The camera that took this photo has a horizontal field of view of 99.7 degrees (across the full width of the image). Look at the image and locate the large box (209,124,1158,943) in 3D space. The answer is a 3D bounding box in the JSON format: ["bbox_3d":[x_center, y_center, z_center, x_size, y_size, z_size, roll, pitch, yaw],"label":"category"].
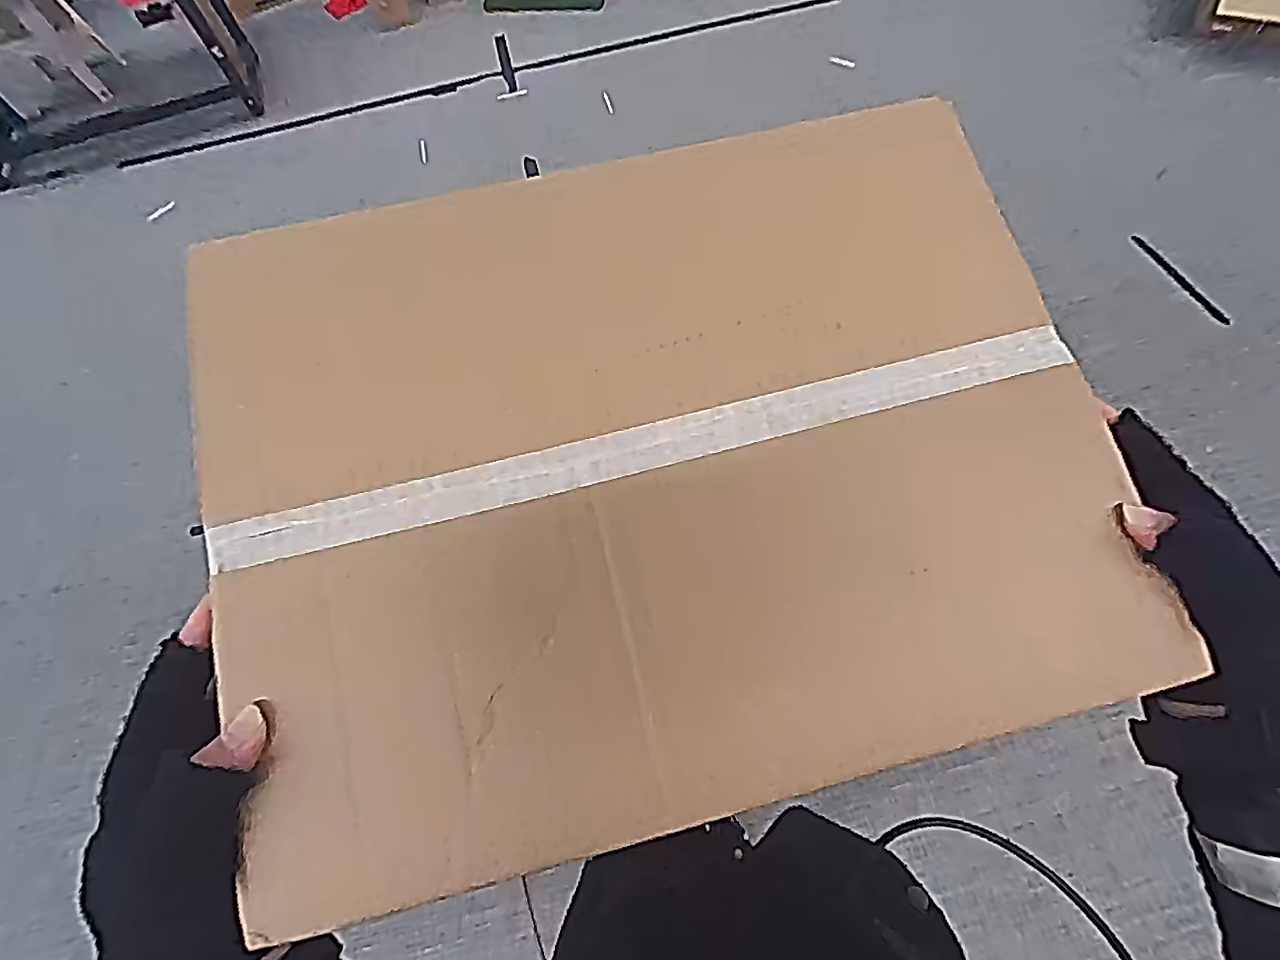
[{"bbox_3d":[0.007,0.024,0.405,0.408,0.320,0.320,-14,77,-4],"label":"large box"}]
